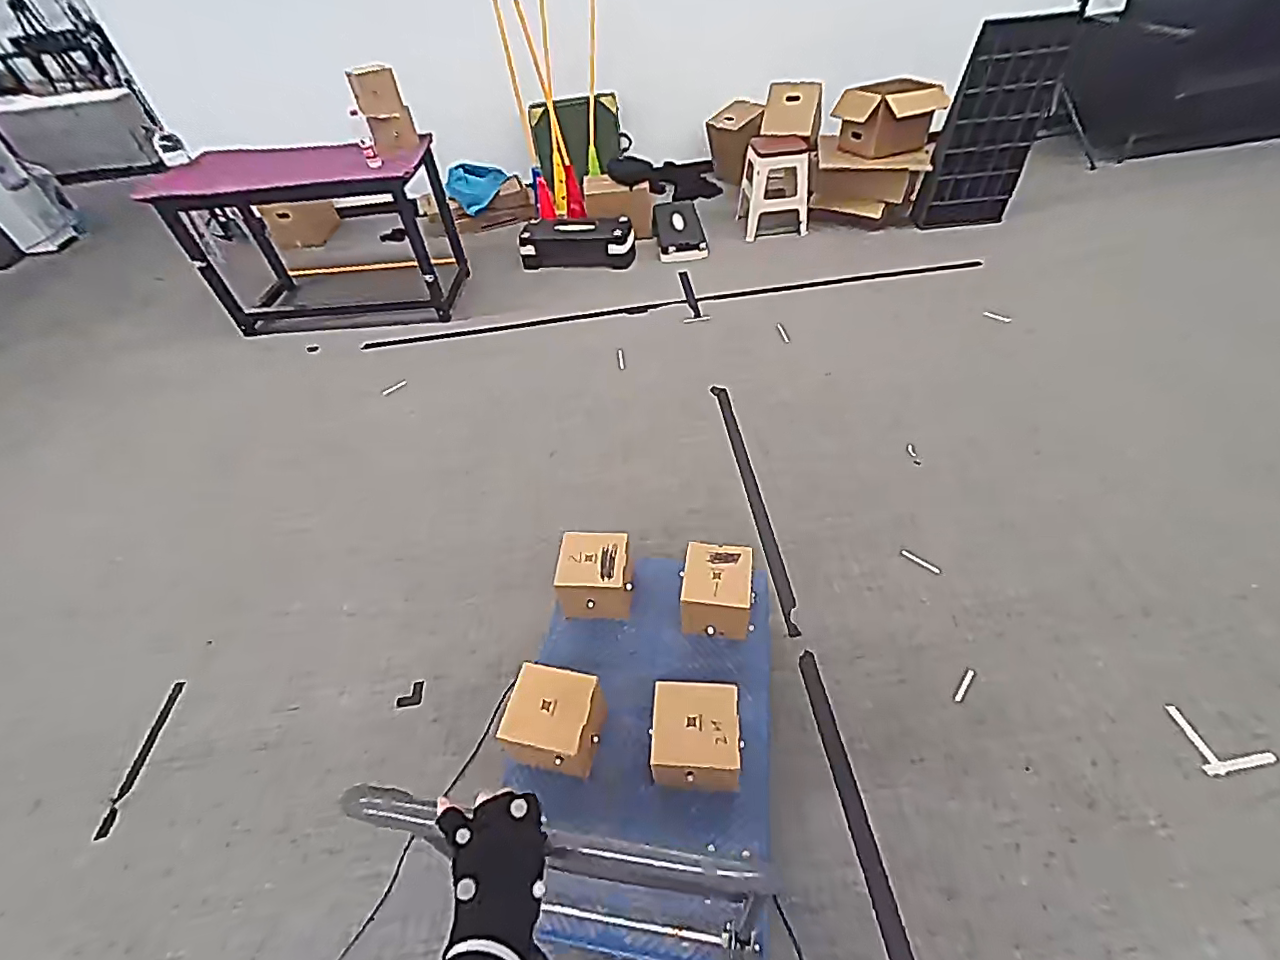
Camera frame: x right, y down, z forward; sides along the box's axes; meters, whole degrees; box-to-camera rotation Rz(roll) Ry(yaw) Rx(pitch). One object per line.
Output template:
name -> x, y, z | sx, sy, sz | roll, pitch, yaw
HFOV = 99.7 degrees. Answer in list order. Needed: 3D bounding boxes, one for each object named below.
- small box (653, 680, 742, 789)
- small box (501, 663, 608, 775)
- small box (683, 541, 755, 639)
small box -> 0.125, 0.544, 1.151 | 0.179, 0.176, 0.168 | 0, 47, 7
small box -> -0.181, 0.531, 1.198 | 0.179, 0.176, 0.168 | 7, 48, 11
small box -> 0.201, 0.282, 1.389 | 0.168, 0.176, 0.179 | 4, 49, 10
